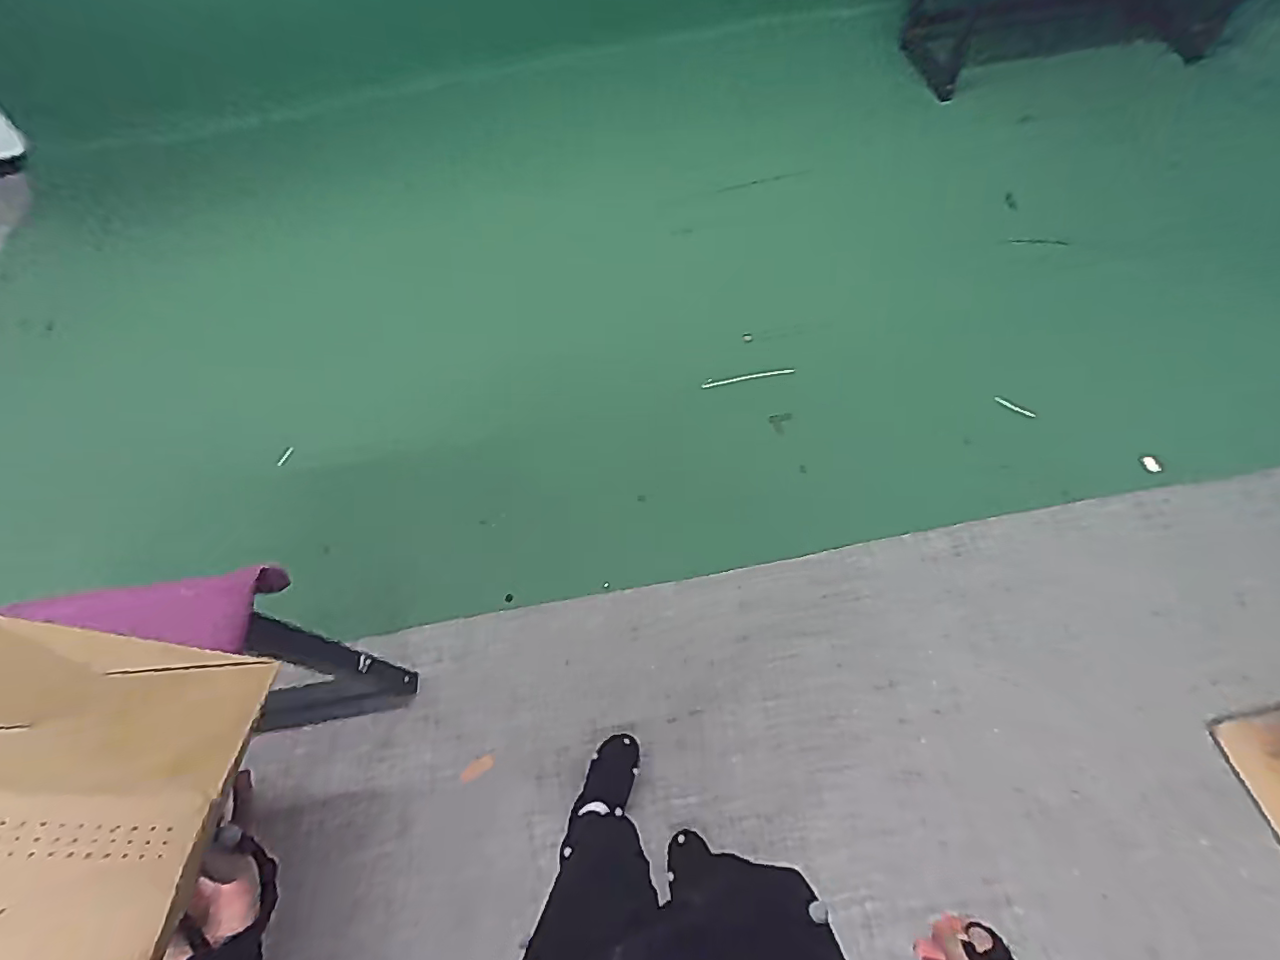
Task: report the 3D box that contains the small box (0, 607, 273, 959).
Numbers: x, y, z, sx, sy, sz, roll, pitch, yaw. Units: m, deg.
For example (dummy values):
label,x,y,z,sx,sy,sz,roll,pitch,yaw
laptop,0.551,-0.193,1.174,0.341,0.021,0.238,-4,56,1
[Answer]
label,x,y,z,sx,sy,sz,roll,pitch,yaw
small box,-0.325,0.184,0.286,0.179,0.168,0.176,21,86,-25
